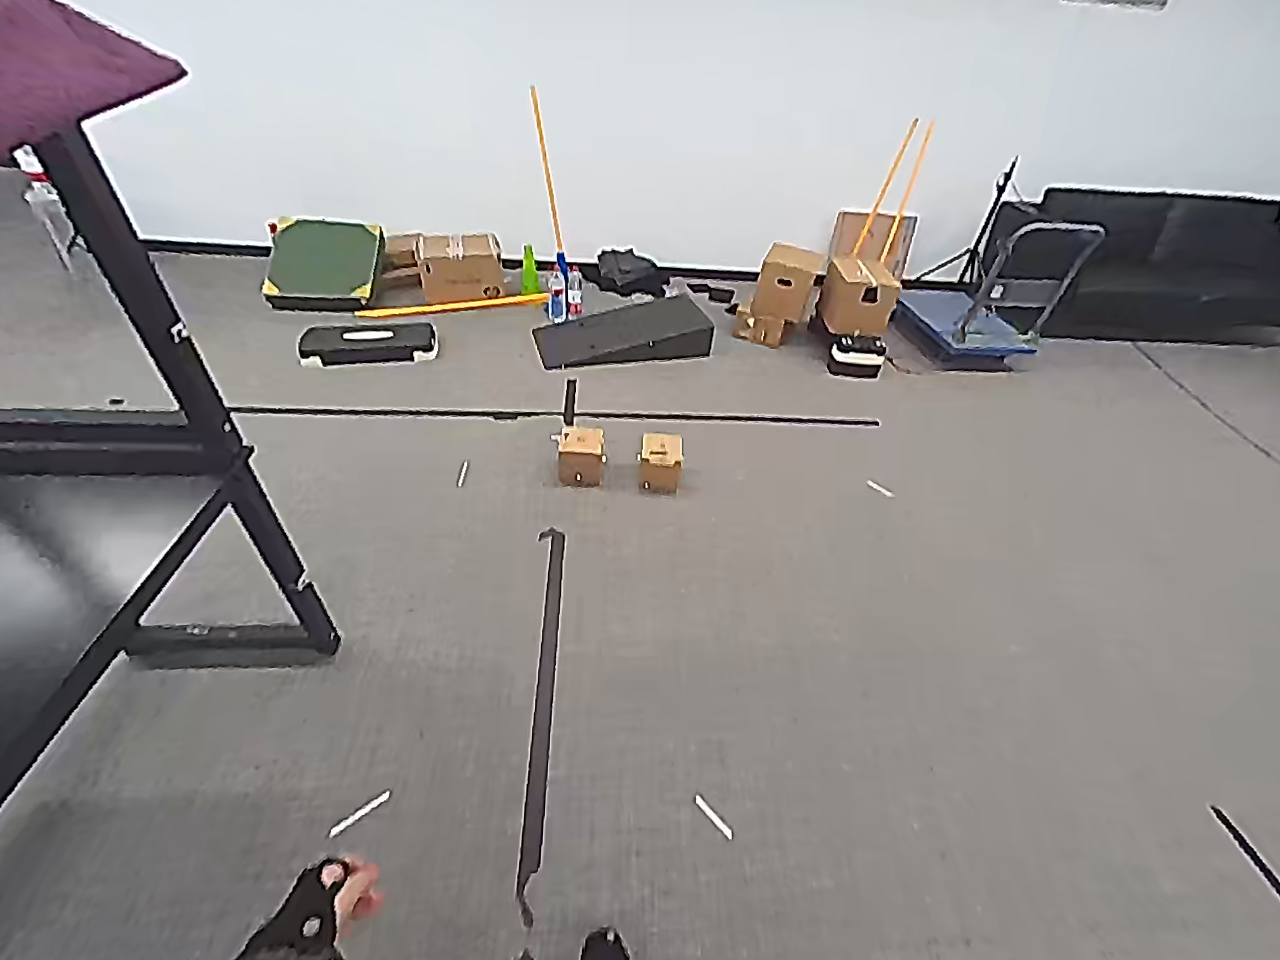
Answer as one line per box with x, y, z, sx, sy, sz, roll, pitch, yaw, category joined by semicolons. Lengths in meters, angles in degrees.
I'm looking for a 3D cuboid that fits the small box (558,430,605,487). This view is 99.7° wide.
-0.248;-0.086;2.270;0.179;0.176;0.168;6;40;-2;small box

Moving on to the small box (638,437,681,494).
0.083;-0.057;2.281;0.168;0.176;0.179;6;39;-1;small box
